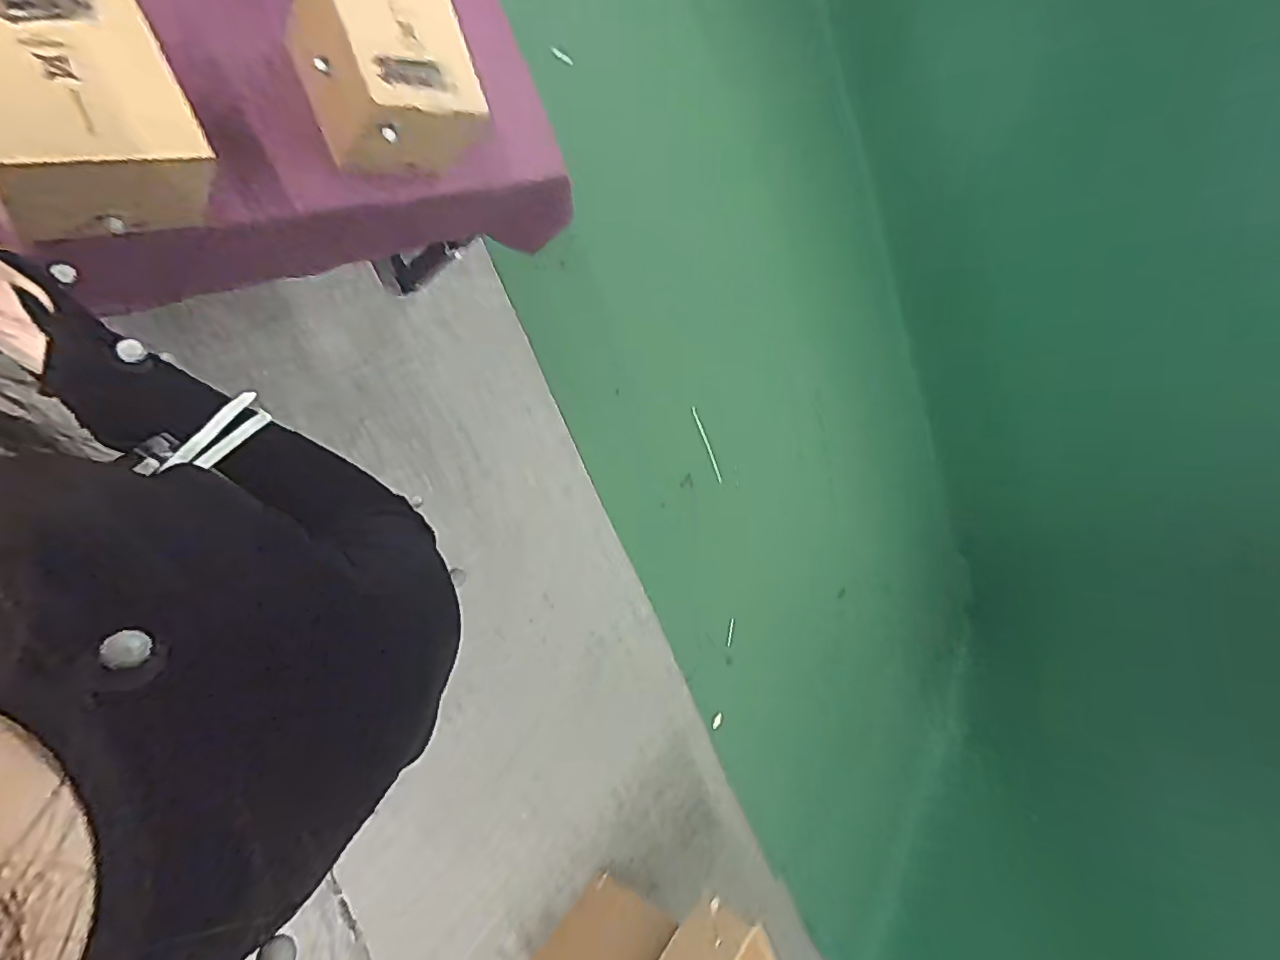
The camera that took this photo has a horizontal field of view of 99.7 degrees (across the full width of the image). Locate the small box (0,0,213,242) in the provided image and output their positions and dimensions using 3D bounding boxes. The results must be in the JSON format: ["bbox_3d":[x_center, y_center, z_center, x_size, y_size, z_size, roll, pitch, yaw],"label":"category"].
[{"bbox_3d":[-0.563,-0.362,0.528,0.168,0.176,0.179,-33,108,-38],"label":"small box"}]
